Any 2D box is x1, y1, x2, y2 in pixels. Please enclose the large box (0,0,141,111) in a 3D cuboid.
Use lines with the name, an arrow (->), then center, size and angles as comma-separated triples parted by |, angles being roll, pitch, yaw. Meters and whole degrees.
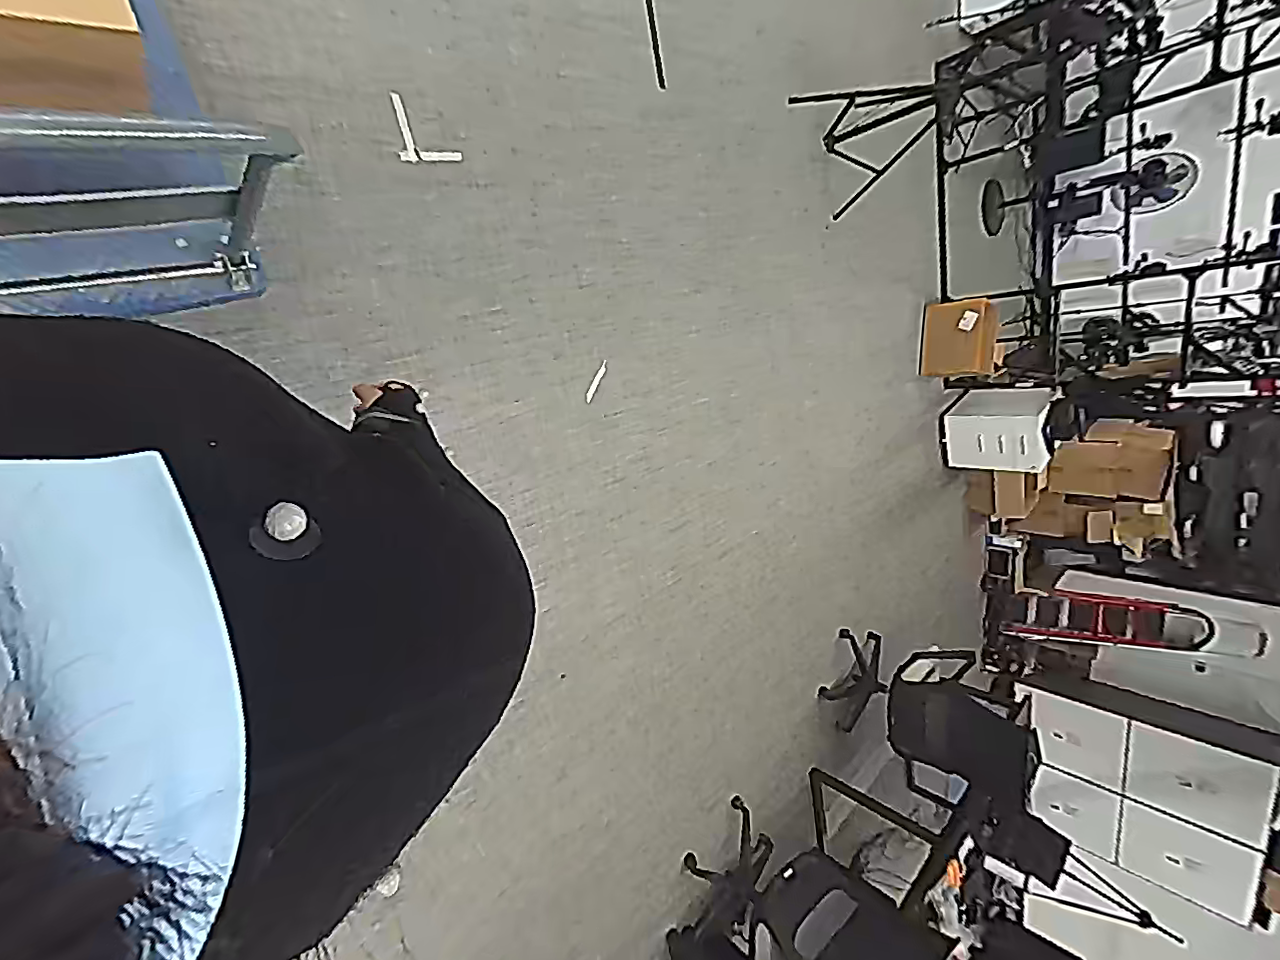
large box -> -0.963, -0.710, 0.687 | 0.408, 0.320, 0.320 | -24, 110, -36
